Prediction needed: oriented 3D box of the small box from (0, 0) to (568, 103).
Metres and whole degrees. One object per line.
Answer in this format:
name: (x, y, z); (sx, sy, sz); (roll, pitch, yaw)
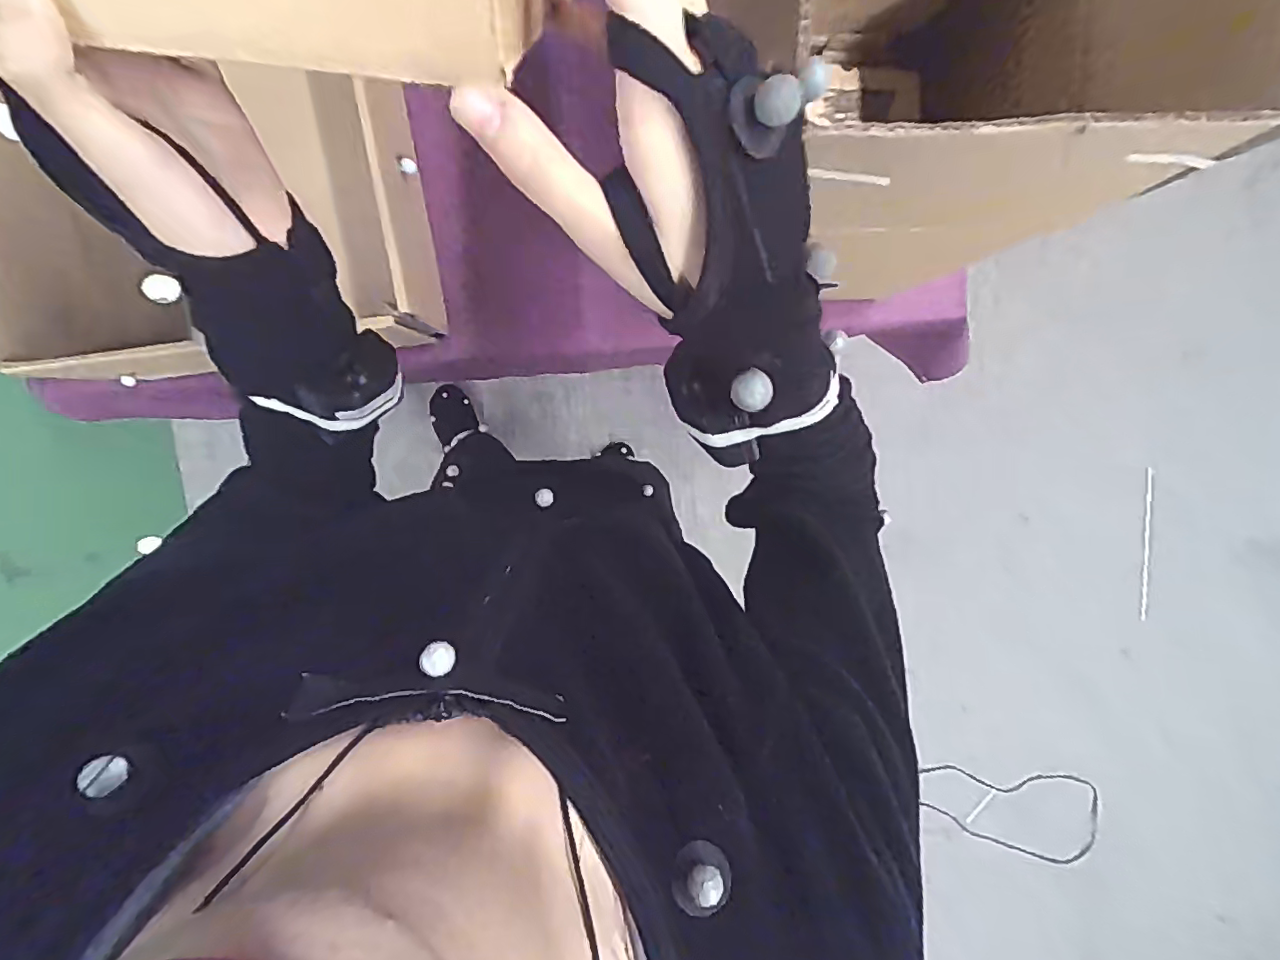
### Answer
small box: (-0.099, -0.243, 0.146); (0.168, 0.179, 0.176); (8, 54, 2)
